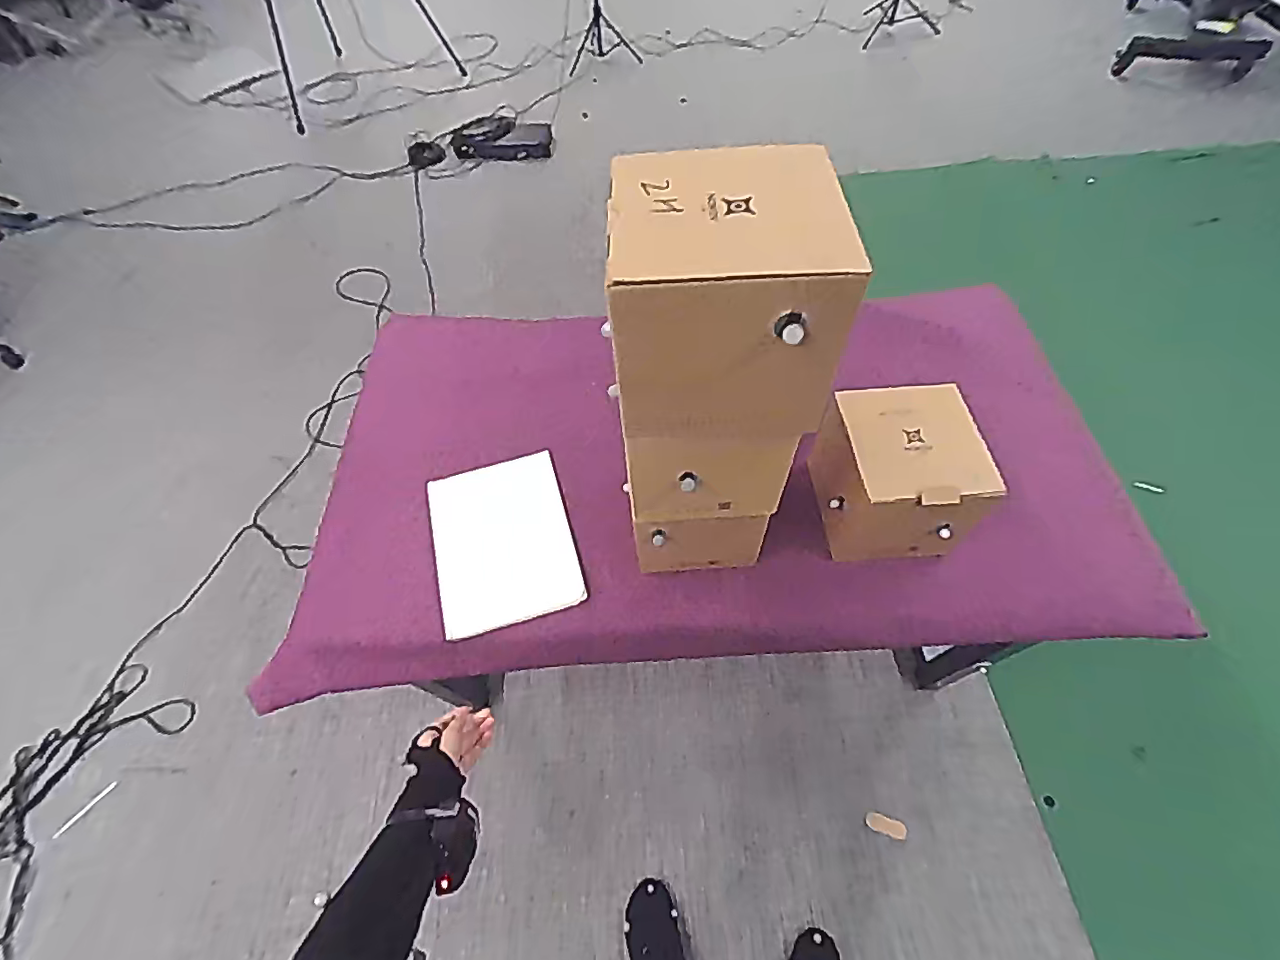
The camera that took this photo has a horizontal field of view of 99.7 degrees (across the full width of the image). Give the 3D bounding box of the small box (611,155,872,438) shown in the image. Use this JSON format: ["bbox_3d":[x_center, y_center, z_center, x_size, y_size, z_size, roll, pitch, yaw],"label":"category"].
[{"bbox_3d":[0.071,-0.149,0.467,0.179,0.176,0.168,-1,56,3],"label":"small box"}]

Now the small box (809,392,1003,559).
[{"bbox_3d":[0.347,0.001,0.746,0.168,0.176,0.179,-3,56,0],"label":"small box"}]

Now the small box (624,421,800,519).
[{"bbox_3d":[0.070,-0.065,0.608,0.168,0.176,0.179,-3,56,1],"label":"small box"}]
